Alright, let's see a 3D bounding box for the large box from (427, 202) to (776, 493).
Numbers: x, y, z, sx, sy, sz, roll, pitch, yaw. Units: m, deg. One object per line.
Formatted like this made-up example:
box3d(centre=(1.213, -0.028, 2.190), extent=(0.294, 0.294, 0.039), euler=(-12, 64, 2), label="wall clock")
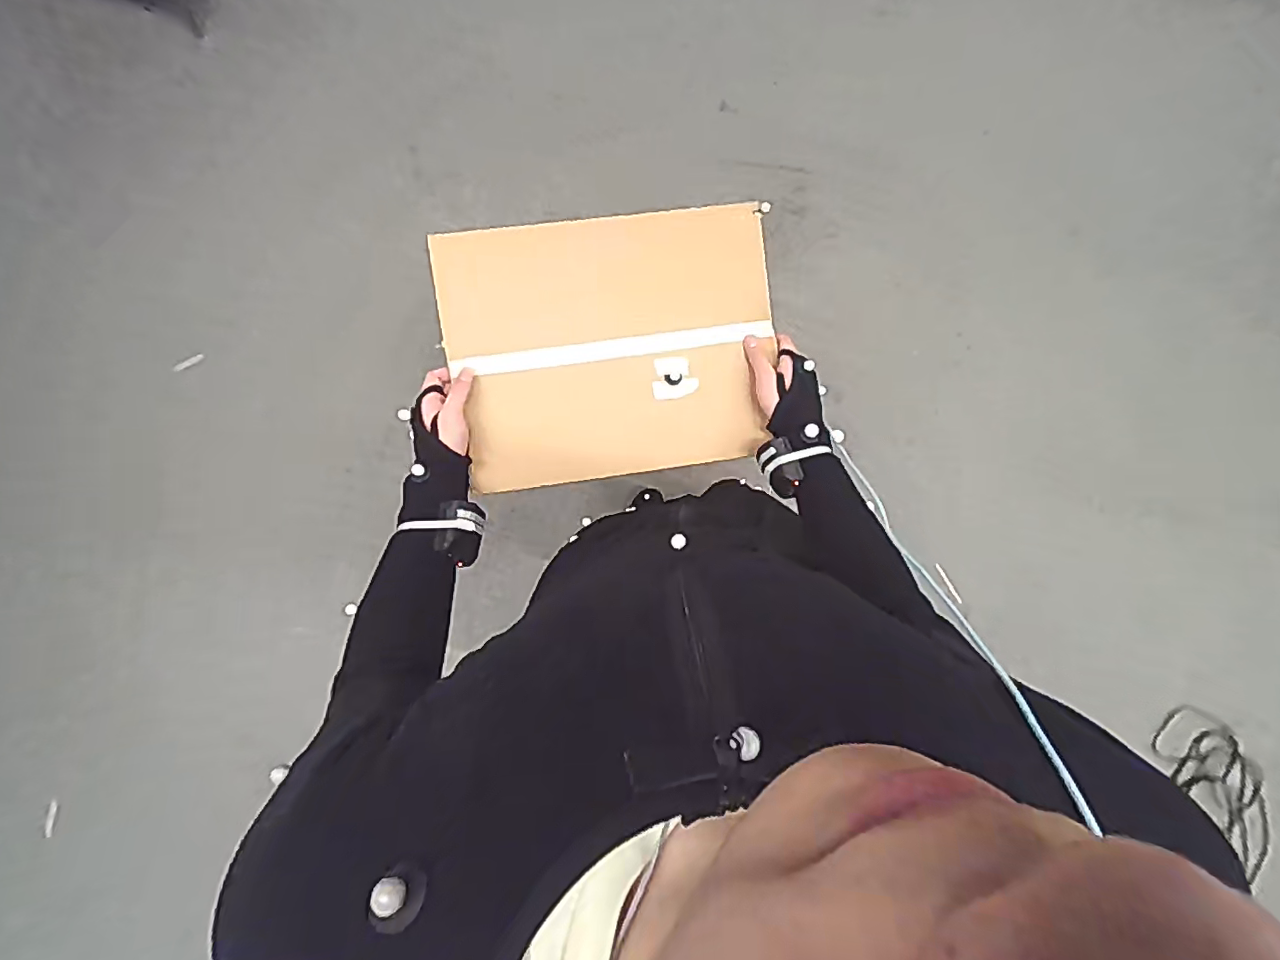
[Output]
box3d(centre=(-0.055, -0.178, 0.826), extent=(0.408, 0.320, 0.320), euler=(-10, 96, -5), label="large box")
